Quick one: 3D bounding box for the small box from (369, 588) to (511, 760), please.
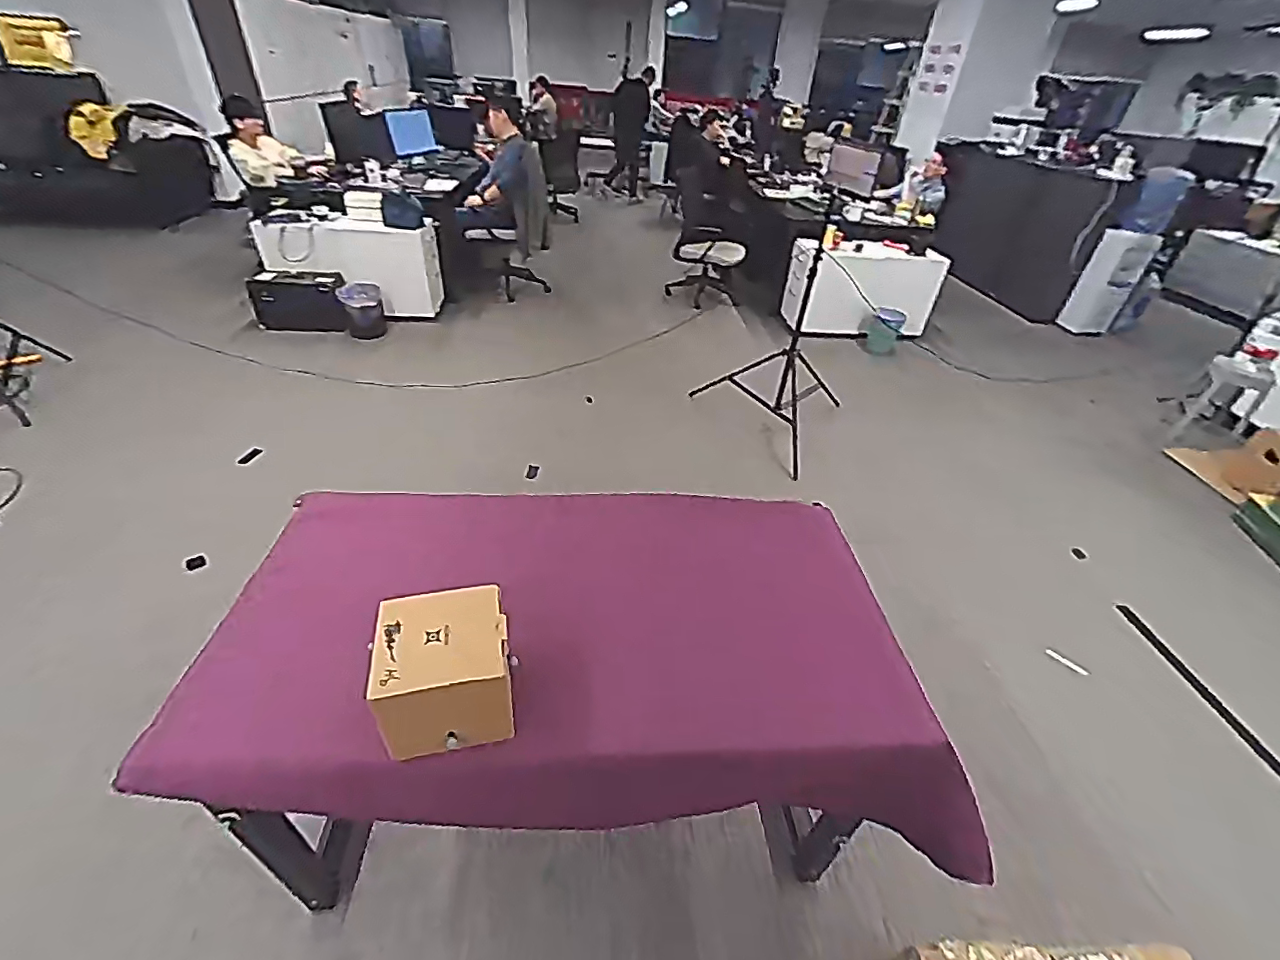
[{"bbox_3d":[-0.288,0.290,0.816,0.179,0.176,0.168,-5,37,-14],"label":"small box"}]
